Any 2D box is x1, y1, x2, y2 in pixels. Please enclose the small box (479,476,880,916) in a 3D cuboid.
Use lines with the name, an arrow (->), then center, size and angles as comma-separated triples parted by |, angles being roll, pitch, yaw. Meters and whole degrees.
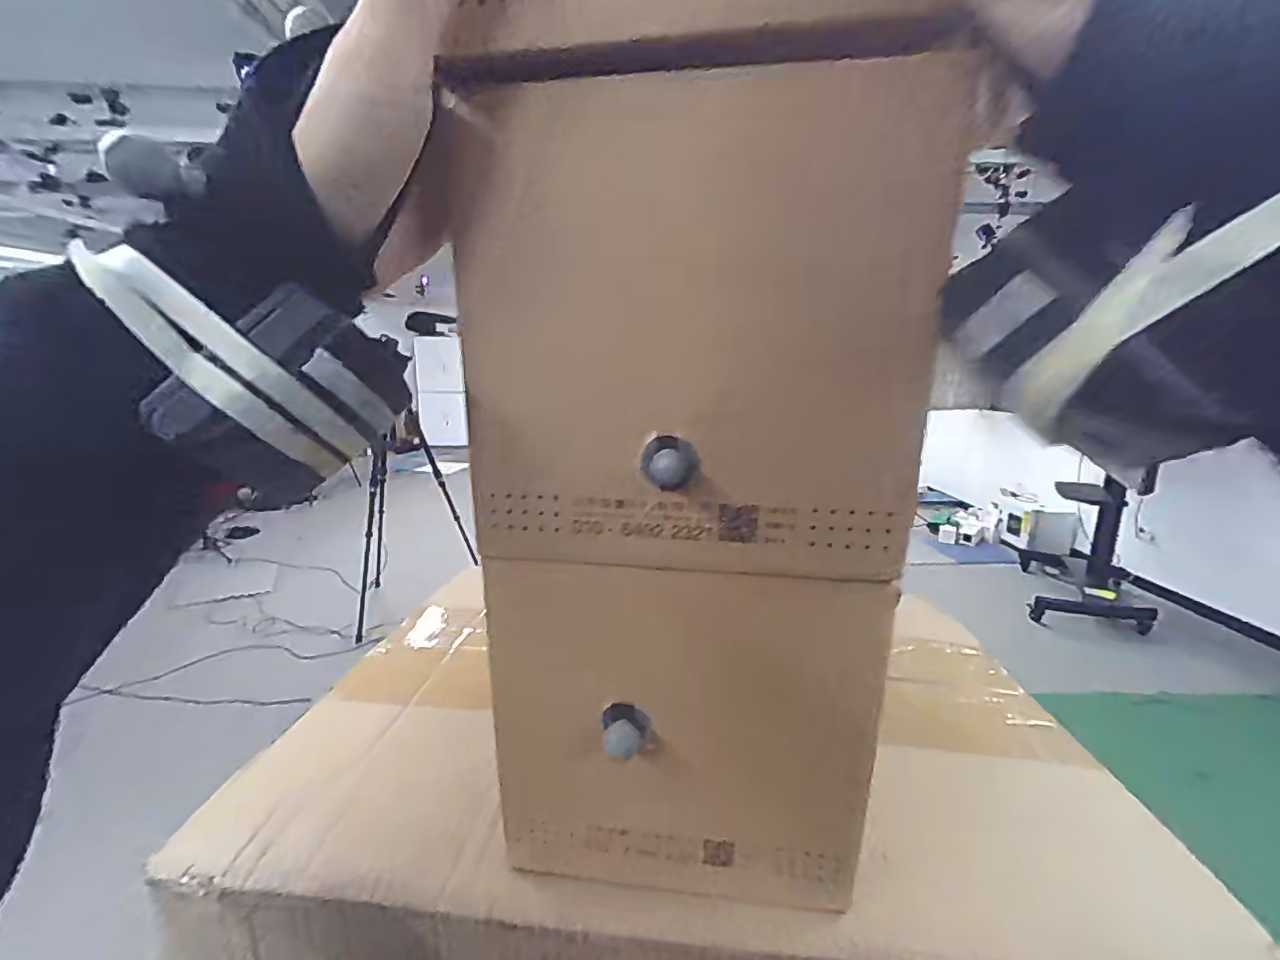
small box -> 0.025, 0.101, 0.315 | 0.168, 0.176, 0.179 | 2, 15, 7
